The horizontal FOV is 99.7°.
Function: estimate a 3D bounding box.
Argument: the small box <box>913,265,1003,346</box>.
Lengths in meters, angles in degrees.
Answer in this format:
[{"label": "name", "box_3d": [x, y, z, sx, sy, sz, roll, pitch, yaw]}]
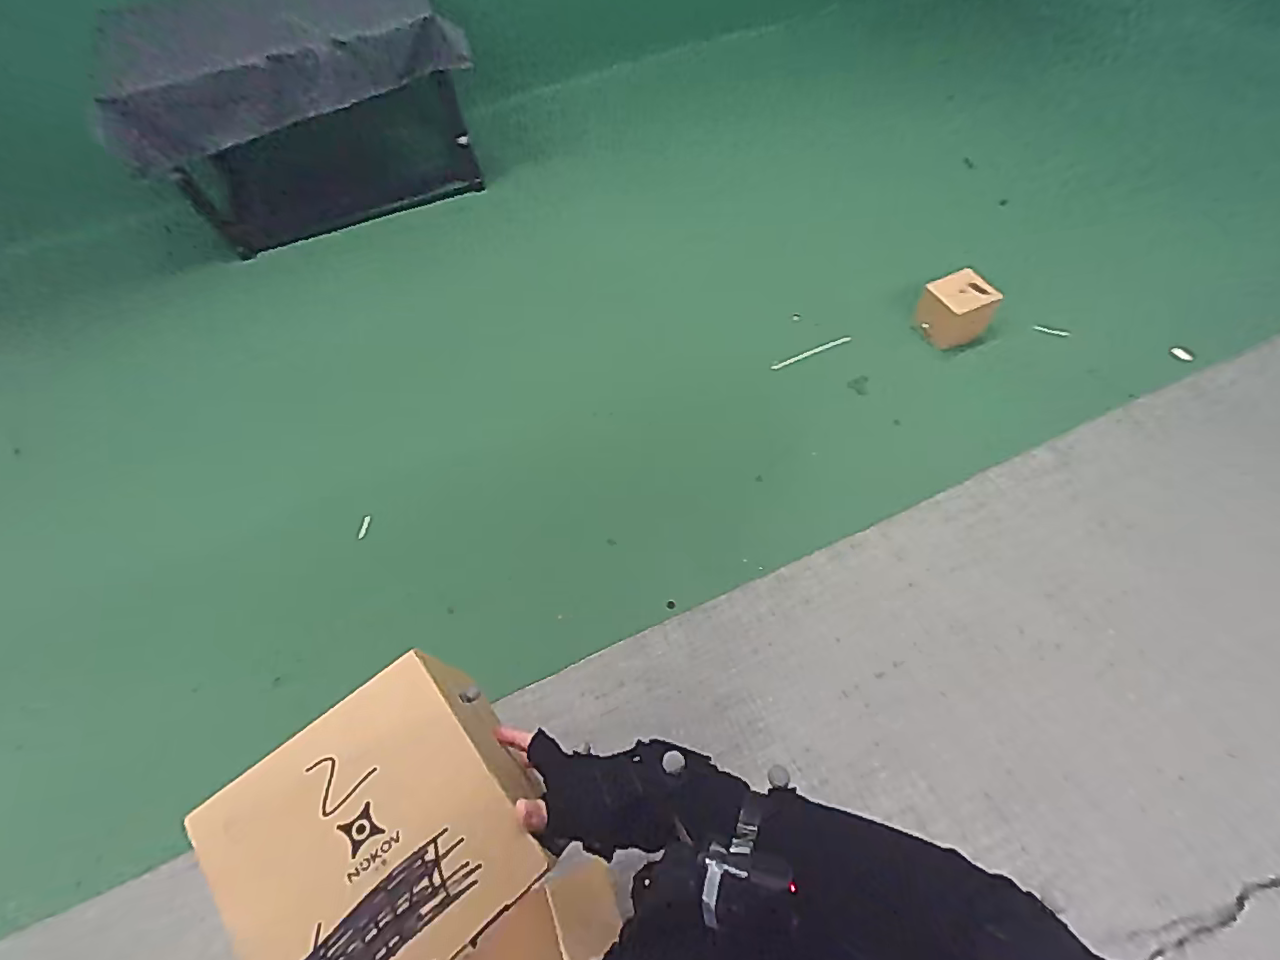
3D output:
[{"label": "small box", "box_3d": [1.067, -0.587, 1.831, 0.179, 0.176, 0.168, -23, 59, -7]}]
